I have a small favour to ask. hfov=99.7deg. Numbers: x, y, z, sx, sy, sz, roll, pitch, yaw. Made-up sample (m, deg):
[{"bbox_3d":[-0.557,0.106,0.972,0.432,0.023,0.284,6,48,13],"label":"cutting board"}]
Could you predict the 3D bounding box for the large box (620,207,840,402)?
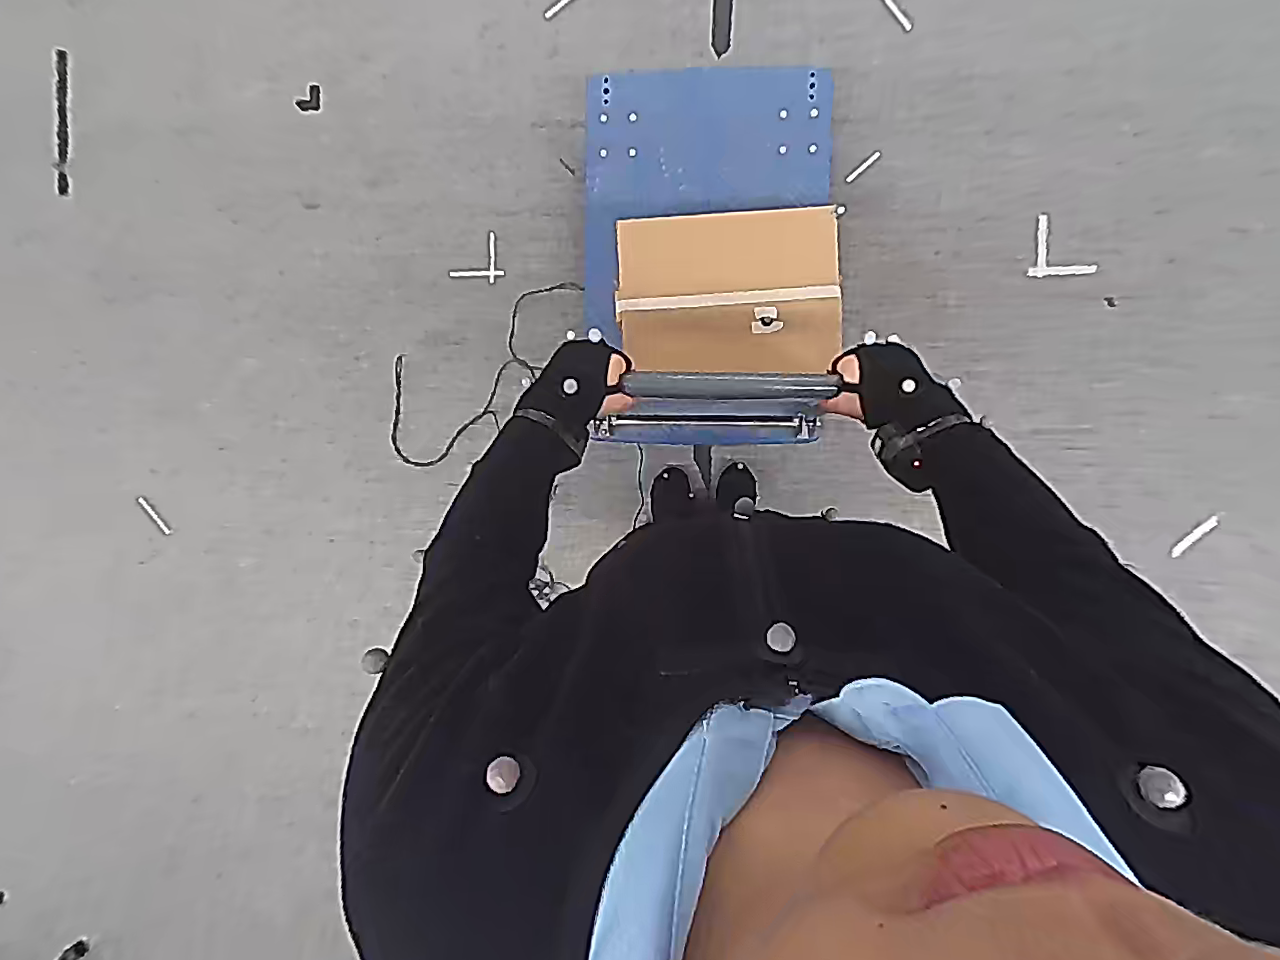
[{"bbox_3d":[0.173,-0.349,1.162,0.408,0.320,0.320,-3,94,2],"label":"large box"}]
